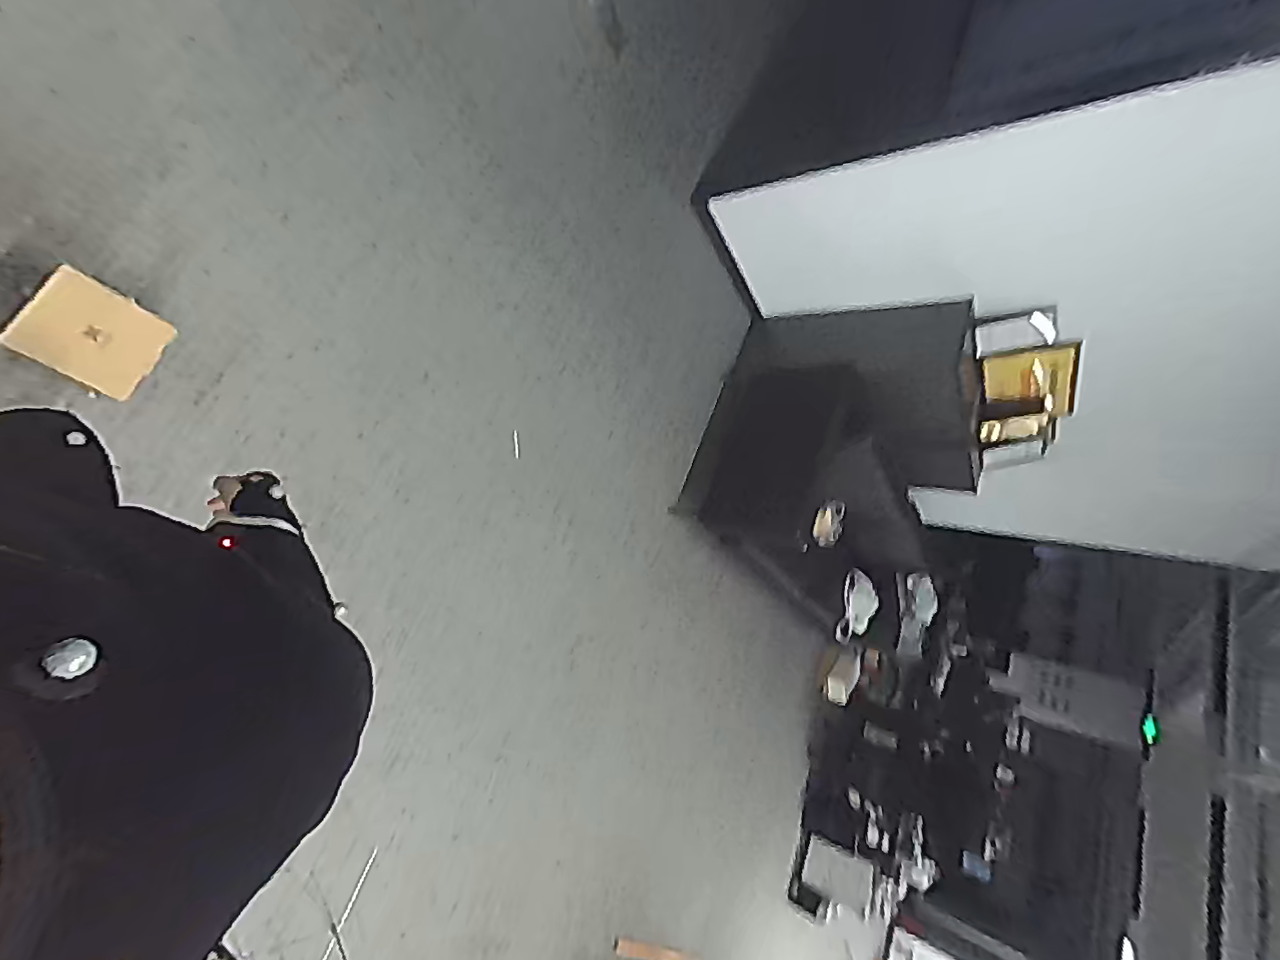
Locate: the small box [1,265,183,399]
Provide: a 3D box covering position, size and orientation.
[{"bbox_3d":[-1.015,-0.263,1.002,0.179,0.176,0.168,42,63,-47],"label":"small box"}]
